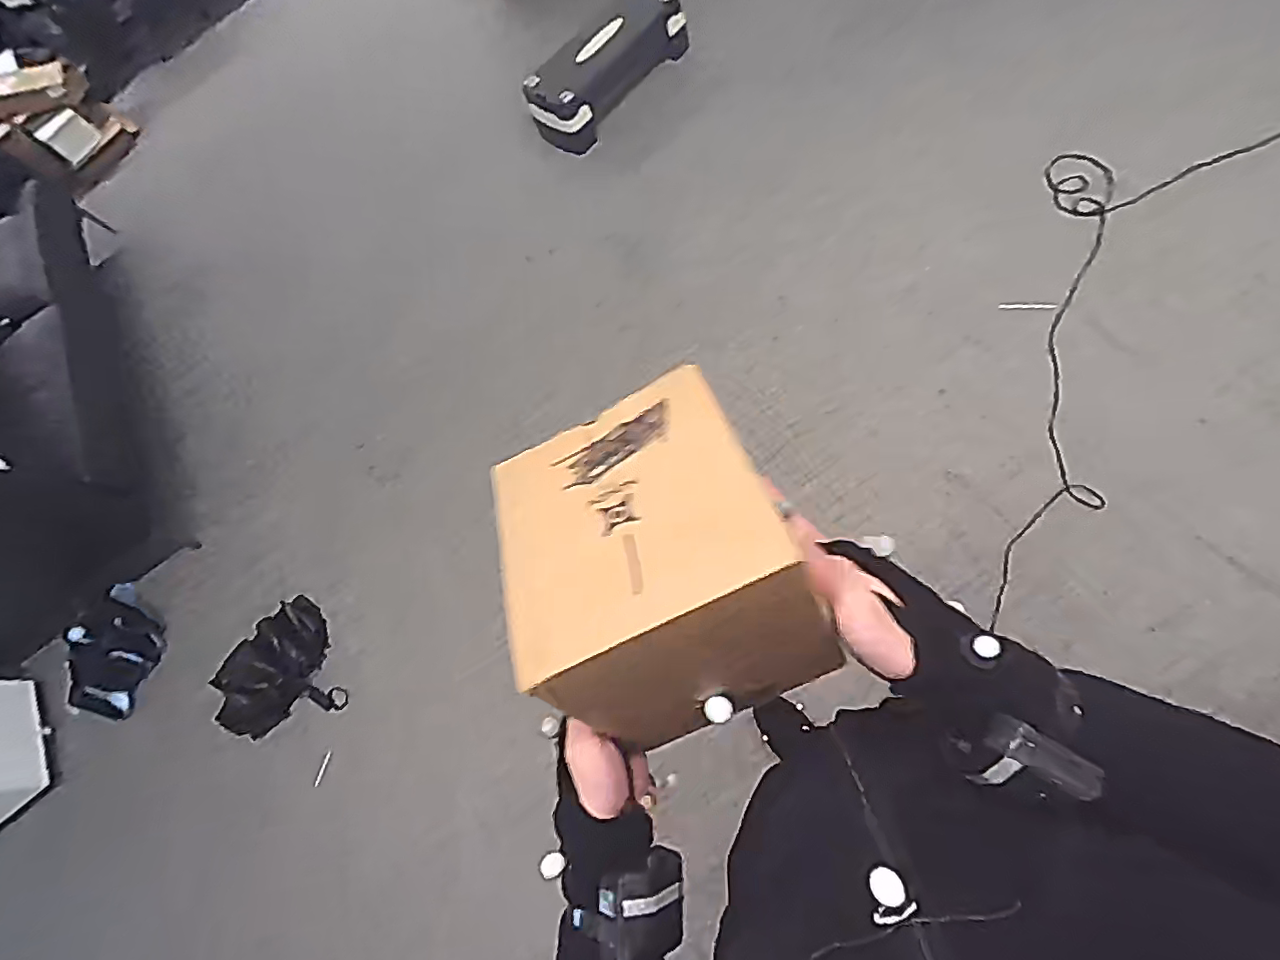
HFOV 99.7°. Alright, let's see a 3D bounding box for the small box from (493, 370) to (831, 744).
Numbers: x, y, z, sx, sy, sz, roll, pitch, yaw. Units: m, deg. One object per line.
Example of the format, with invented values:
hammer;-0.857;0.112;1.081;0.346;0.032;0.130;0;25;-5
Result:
small box;0.015;0.062;0.391;0.168;0.176;0.179;-28;48;9
